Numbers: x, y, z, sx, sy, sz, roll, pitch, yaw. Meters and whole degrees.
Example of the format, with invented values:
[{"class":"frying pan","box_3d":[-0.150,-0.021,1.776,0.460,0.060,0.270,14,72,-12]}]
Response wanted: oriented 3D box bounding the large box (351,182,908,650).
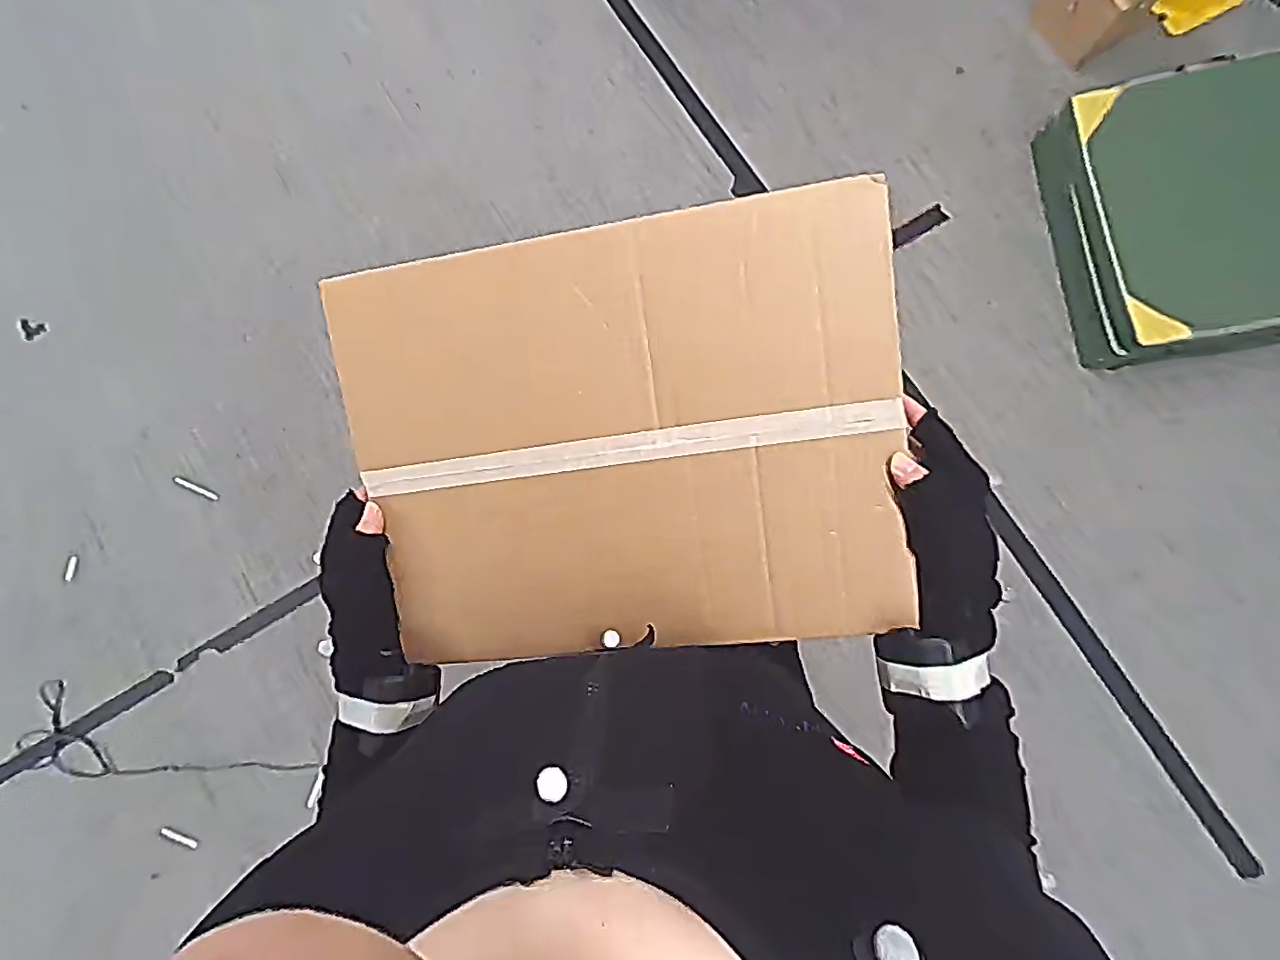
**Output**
[{"class":"large box","box_3d":[0.005,-0.051,0.560,0.408,0.320,0.320,-7,100,9]}]
